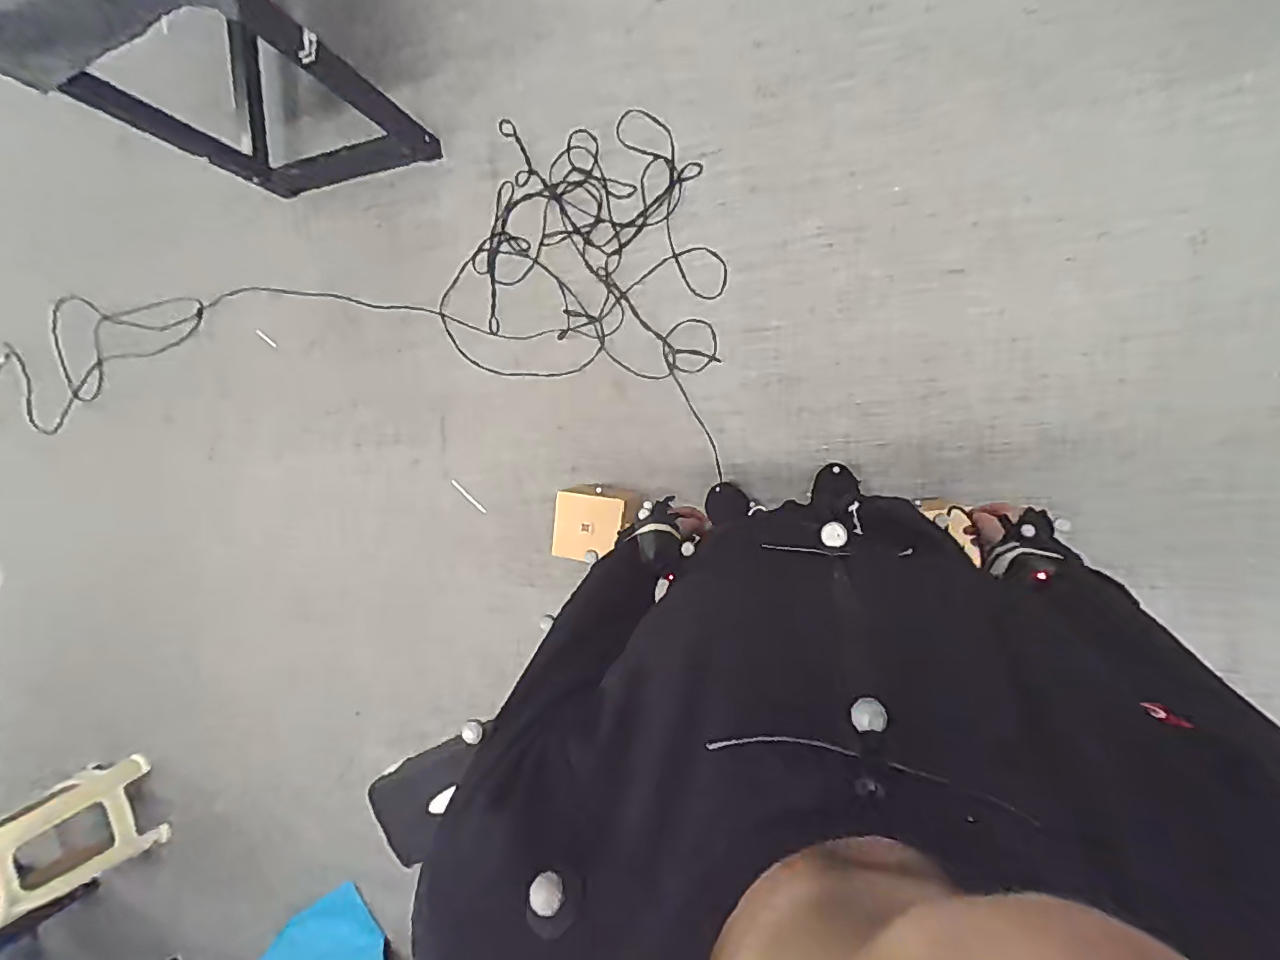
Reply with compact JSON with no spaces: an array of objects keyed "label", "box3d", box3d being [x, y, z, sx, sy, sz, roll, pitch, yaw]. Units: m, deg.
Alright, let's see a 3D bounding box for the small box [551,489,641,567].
[{"label":"small box","box3d":[-0.108,0.115,1.378,0.179,0.176,0.168,7,95,14]}]
